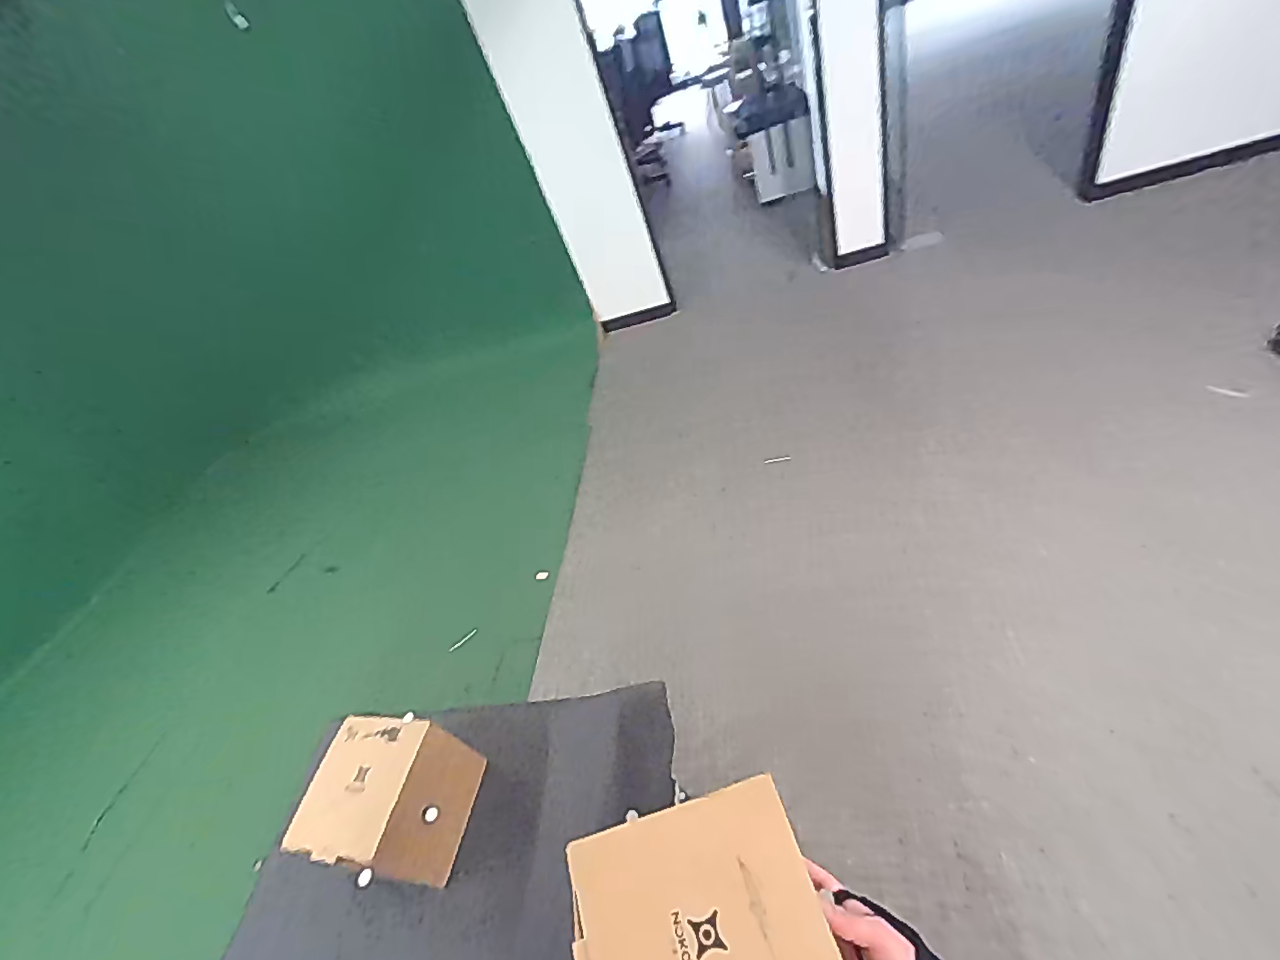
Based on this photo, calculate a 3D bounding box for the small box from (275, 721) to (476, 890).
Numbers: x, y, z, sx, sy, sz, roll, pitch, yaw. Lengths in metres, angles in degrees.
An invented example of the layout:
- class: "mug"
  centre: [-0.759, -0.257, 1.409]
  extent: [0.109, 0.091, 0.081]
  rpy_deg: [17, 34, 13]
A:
- class: "small box"
  centre: [-0.373, 0.482, 0.801]
  extent: [0.168, 0.176, 0.179]
  rpy_deg: [-5, 45, 20]

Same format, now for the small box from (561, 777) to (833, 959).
- class: "small box"
  centre: [0.054, 0.371, 0.447]
  extent: [0.179, 0.176, 0.168]
  rpy_deg: [-19, 54, -2]
